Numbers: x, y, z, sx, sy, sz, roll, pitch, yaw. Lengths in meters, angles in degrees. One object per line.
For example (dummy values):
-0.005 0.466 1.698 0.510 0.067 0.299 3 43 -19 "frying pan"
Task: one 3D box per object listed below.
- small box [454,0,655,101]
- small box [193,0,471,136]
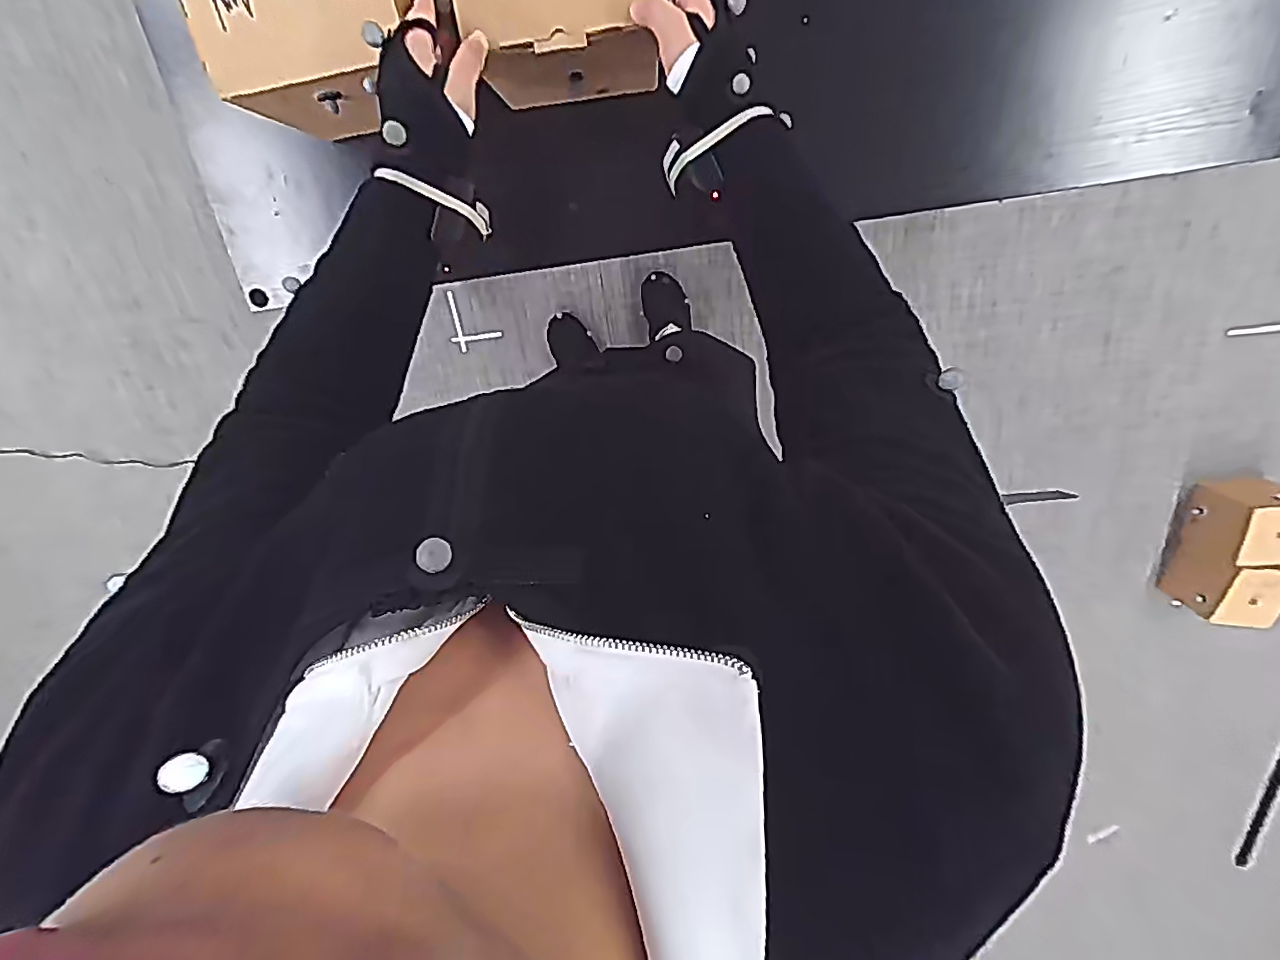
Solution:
-0.074 -0.473 0.496 0.168 0.176 0.179 -6 112 3 "small box"
-0.287 -0.449 0.513 0.179 0.176 0.168 -9 111 5 "small box"
